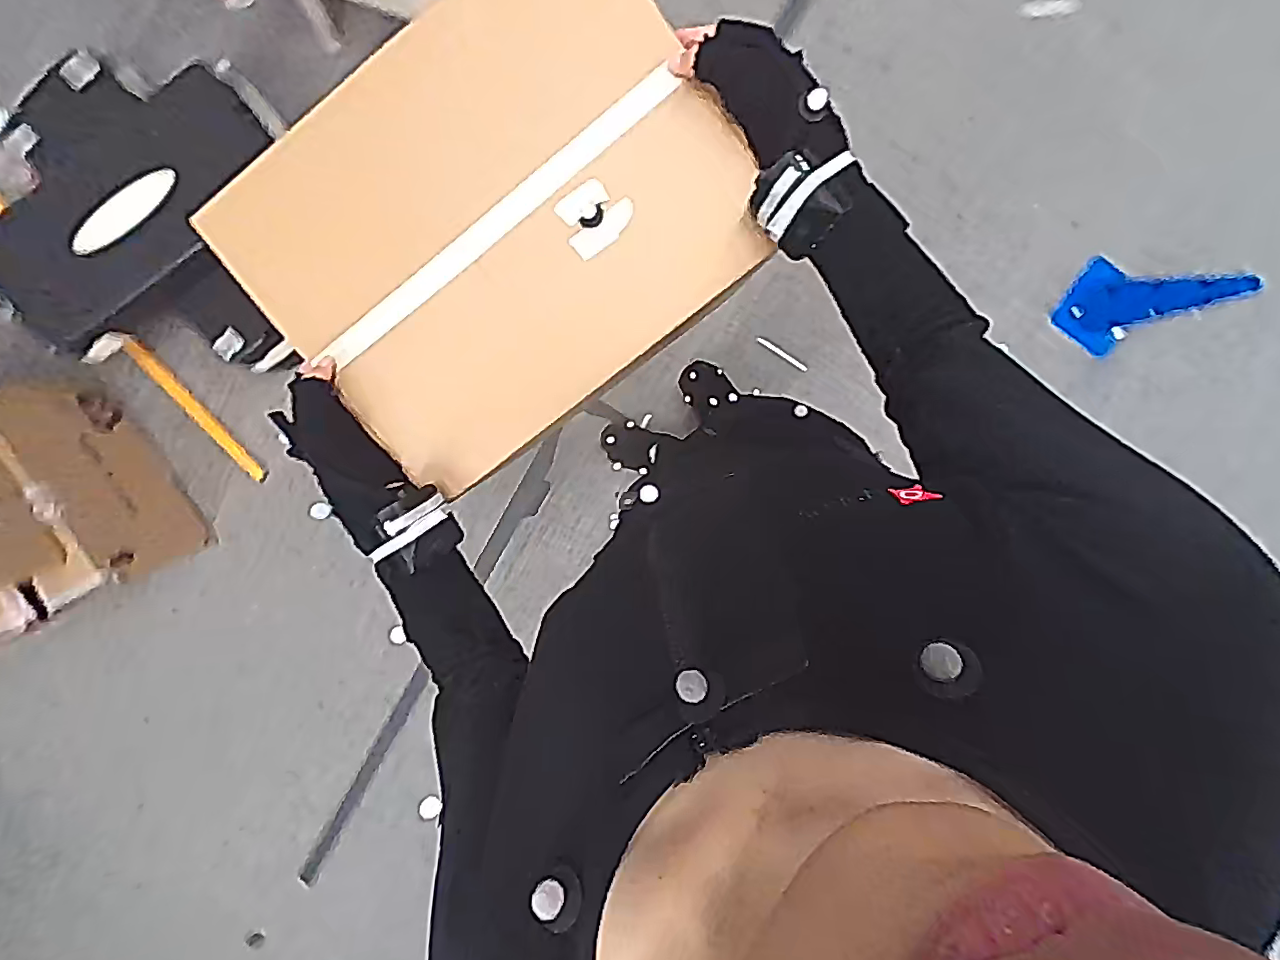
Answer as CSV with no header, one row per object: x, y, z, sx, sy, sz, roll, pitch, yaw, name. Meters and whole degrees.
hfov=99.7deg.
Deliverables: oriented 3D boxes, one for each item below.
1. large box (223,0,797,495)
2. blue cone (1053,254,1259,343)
-0.112,-0.241,0.605,0.408,0.320,0.320,-36,98,5,large box
1.210,-0.451,1.266,0.193,0.380,0.192,33,97,-7,blue cone
